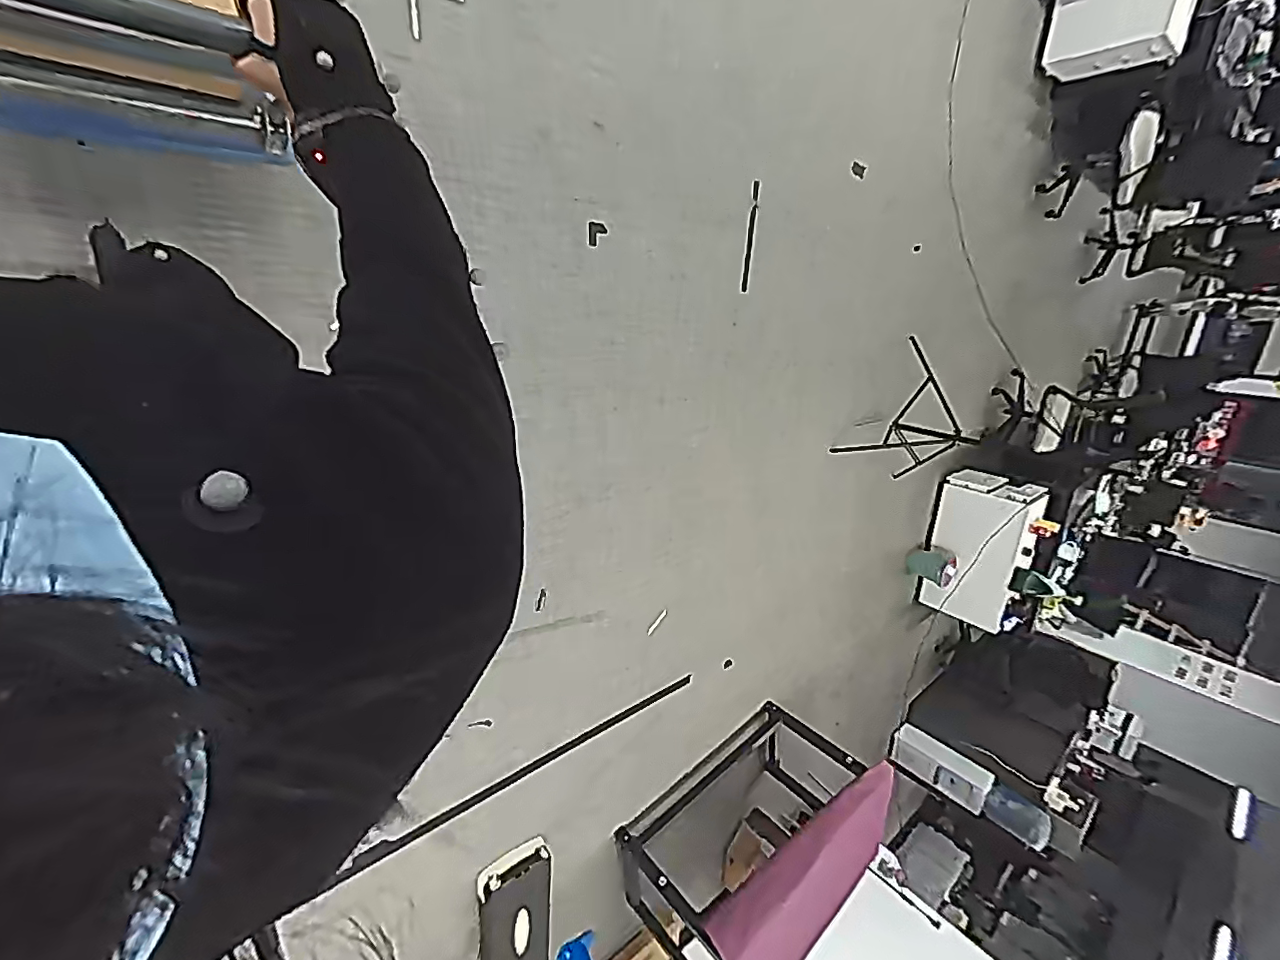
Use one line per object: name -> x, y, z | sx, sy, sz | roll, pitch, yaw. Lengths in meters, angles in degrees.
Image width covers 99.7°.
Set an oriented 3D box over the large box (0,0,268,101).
large box -> -0.751, -0.730, 0.671 | 0.408, 0.320, 0.320 | -14, 115, -39
